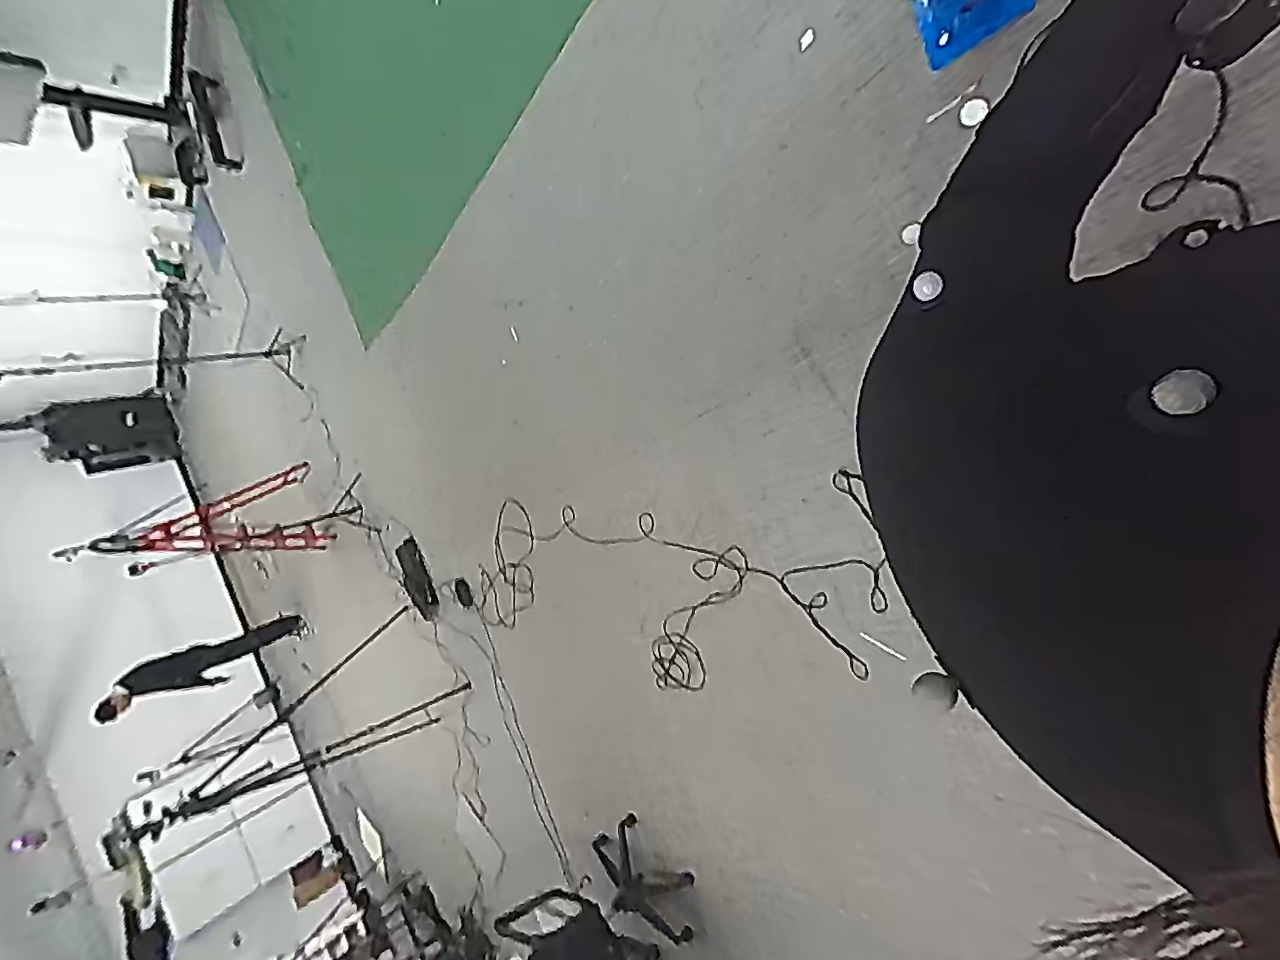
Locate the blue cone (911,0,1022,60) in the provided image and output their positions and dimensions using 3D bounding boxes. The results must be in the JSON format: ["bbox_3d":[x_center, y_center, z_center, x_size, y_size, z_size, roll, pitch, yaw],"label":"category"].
[{"bbox_3d":[0.580,-0.987,1.017,0.193,0.380,0.192,-14,94,43],"label":"blue cone"}]
